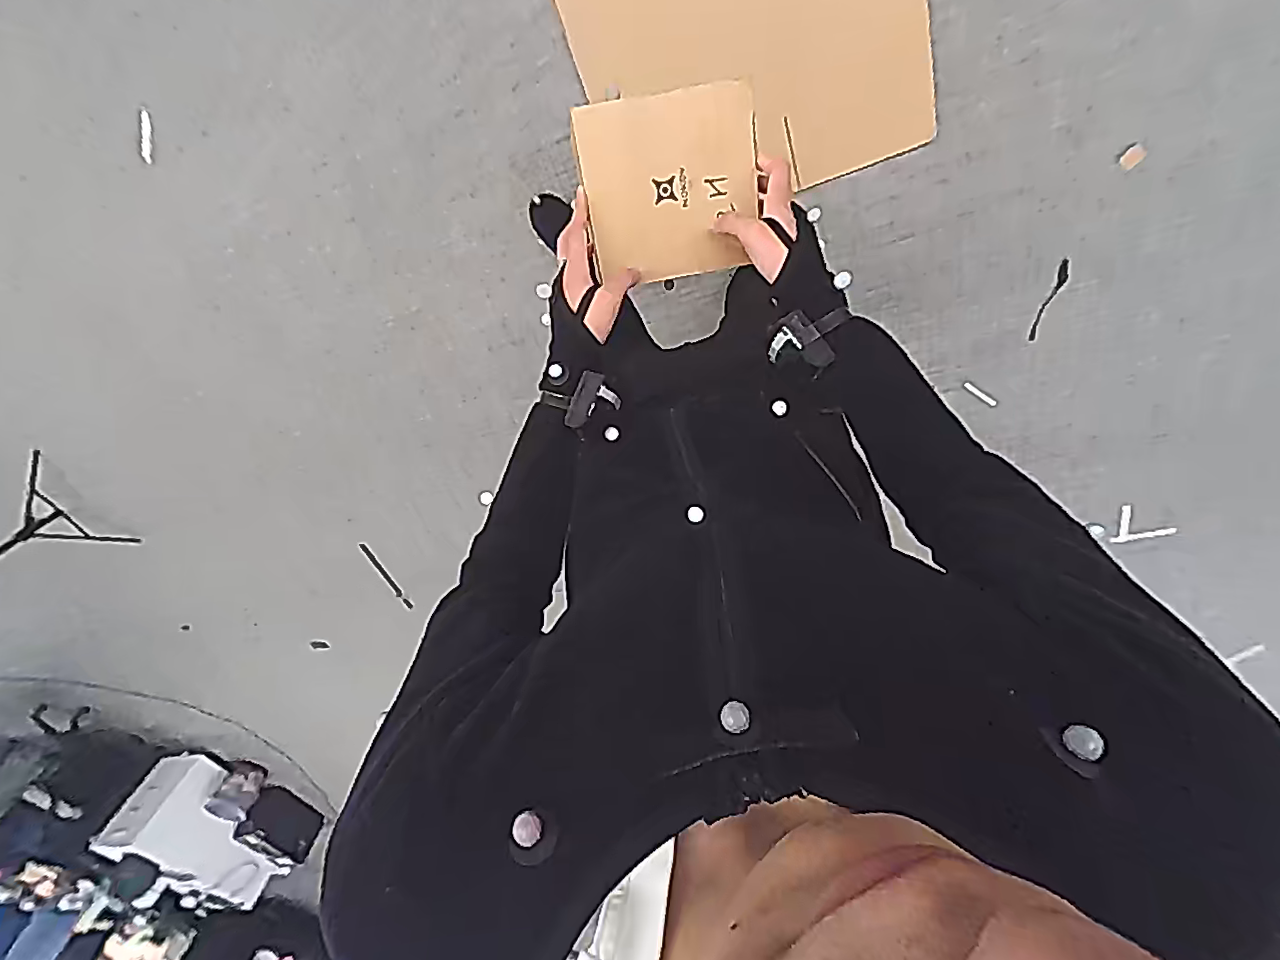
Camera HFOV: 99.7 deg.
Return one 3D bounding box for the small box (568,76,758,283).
[{"bbox_3d":[0.022,-0.325,0.608,0.179,0.176,0.168,-10,116,-2],"label":"small box"}]
